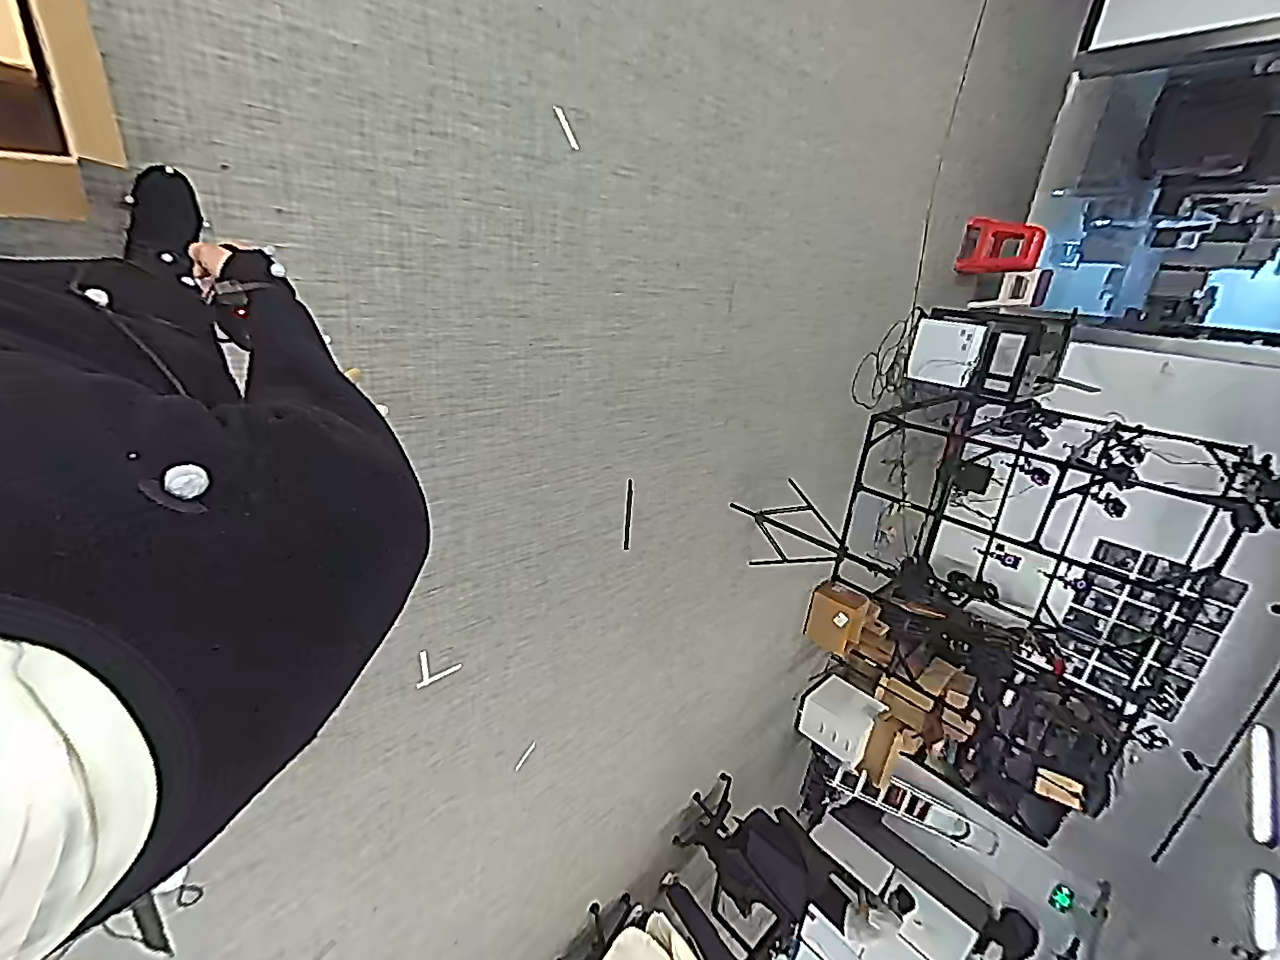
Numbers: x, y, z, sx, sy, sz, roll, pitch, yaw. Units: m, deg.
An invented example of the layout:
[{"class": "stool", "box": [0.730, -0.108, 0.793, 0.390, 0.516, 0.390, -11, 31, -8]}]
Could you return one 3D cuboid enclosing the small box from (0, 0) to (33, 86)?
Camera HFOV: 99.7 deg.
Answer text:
[{"class": "small box", "box": [-0.973, -0.674, 0.737, 0.168, 0.176, 0.179, -13, 118, -42]}]
